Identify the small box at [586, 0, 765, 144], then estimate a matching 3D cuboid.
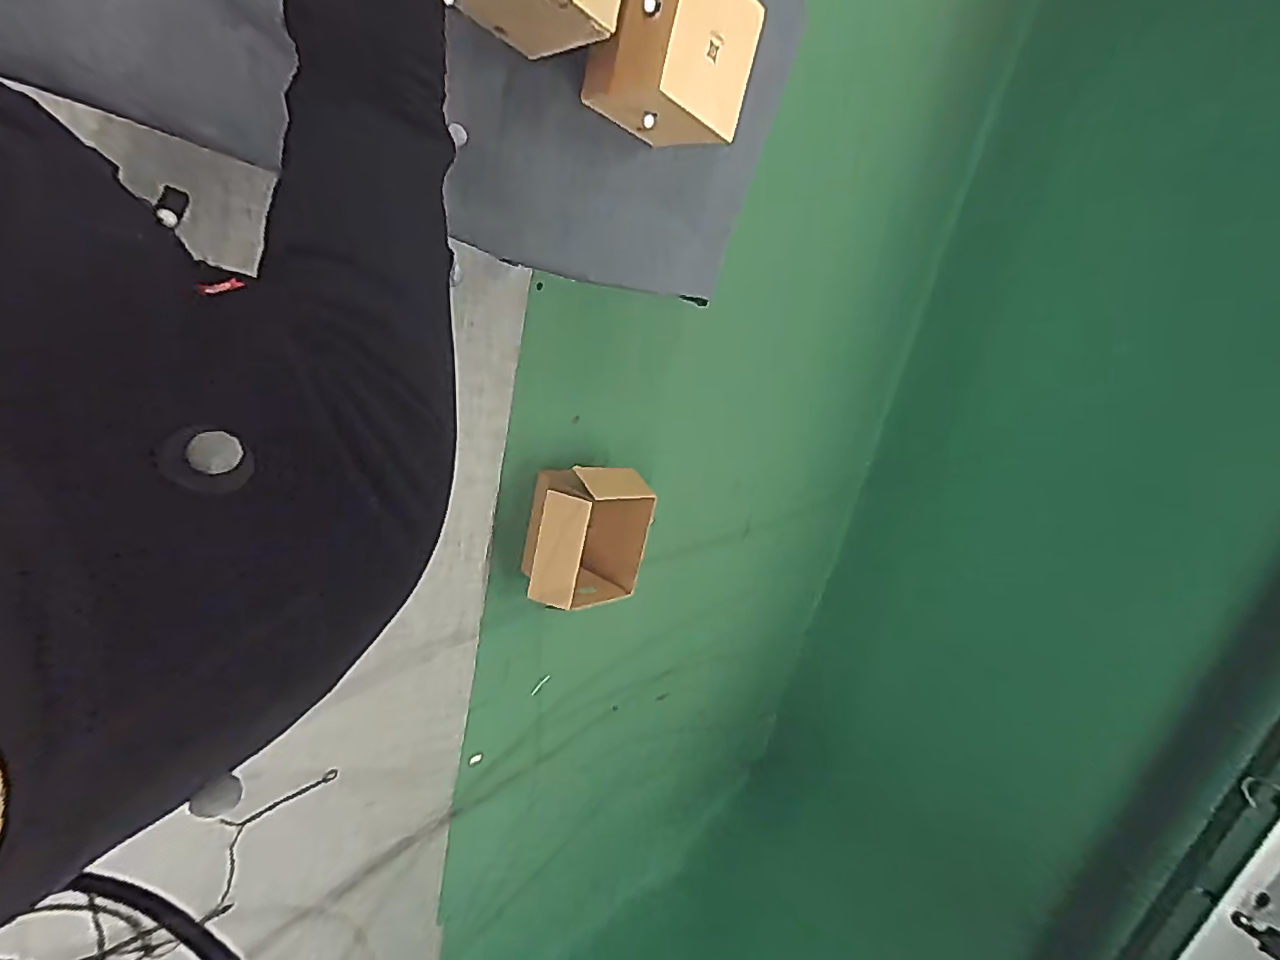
[{"bbox_3d":[0.044,-0.606,0.774,0.168,0.176,0.179,-2,112,-47],"label":"small box"}]
